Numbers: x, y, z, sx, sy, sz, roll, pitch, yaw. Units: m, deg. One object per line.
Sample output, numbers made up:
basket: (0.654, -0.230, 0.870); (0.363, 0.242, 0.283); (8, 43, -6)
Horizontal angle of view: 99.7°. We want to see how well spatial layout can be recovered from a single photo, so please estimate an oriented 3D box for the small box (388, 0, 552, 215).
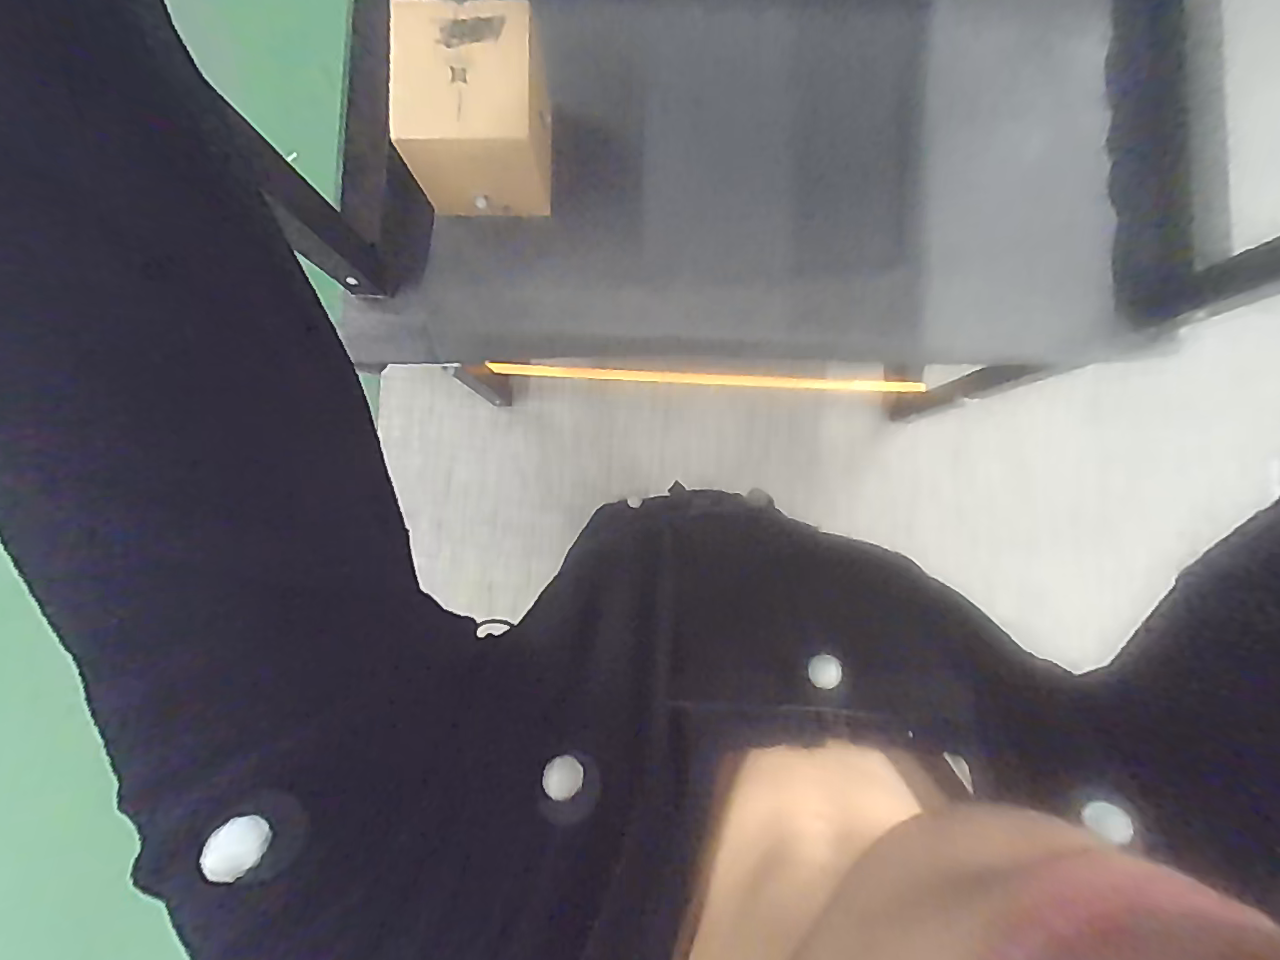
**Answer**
small box: (-0.212, -0.482, 0.715); (0.168, 0.176, 0.179); (0, 87, 0)
